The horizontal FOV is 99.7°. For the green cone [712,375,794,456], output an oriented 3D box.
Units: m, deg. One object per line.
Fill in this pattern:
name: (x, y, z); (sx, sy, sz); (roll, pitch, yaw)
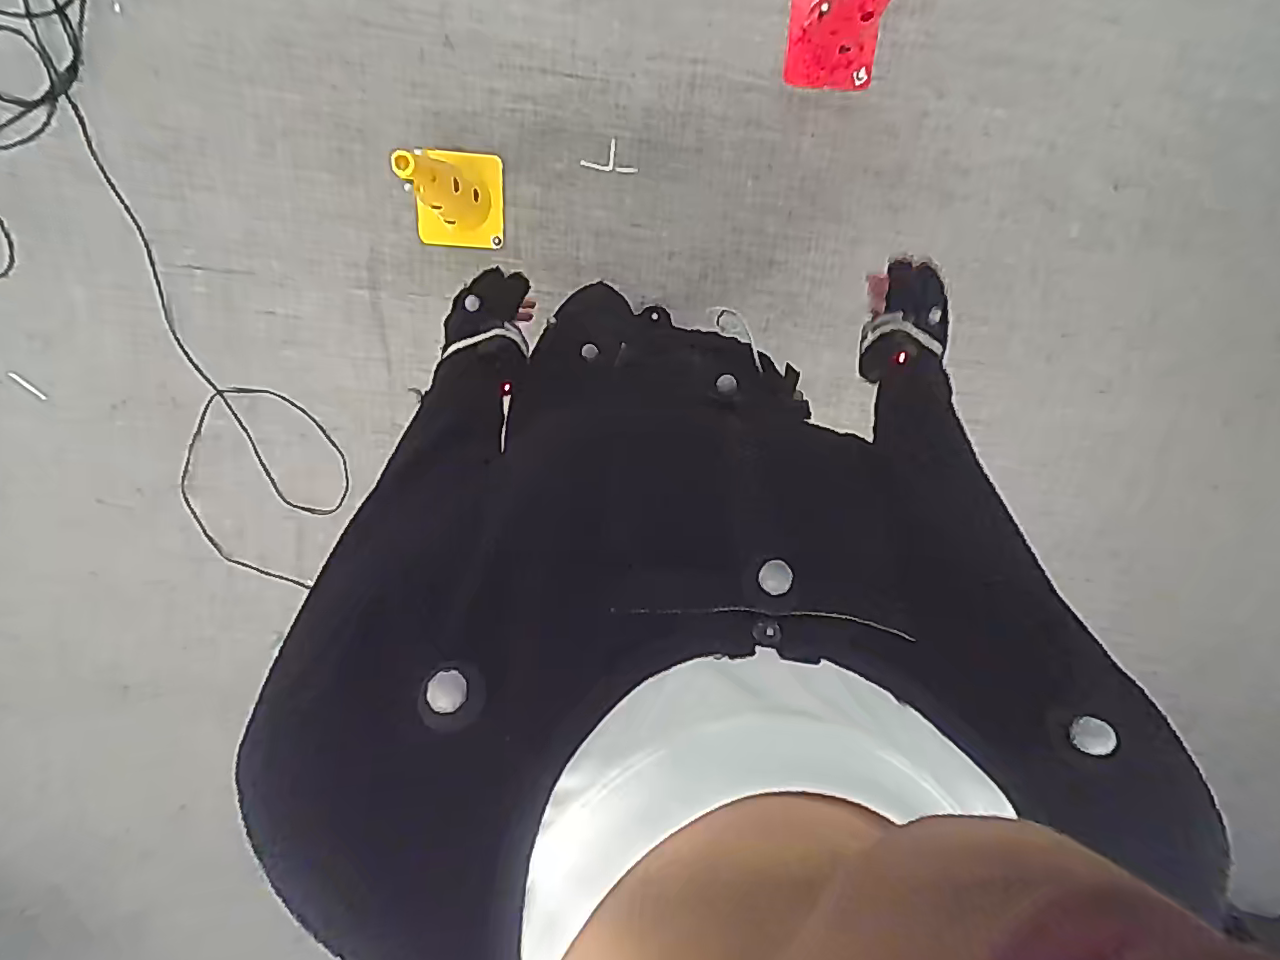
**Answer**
green cone: (0.303, -0.125, 1.287); (0.202, 0.368, 0.200); (5, 107, -2)

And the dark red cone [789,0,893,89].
dark red cone: (0.432, -0.916, 1.012); (0.202, 0.394, 0.201); (1, 106, -2)
